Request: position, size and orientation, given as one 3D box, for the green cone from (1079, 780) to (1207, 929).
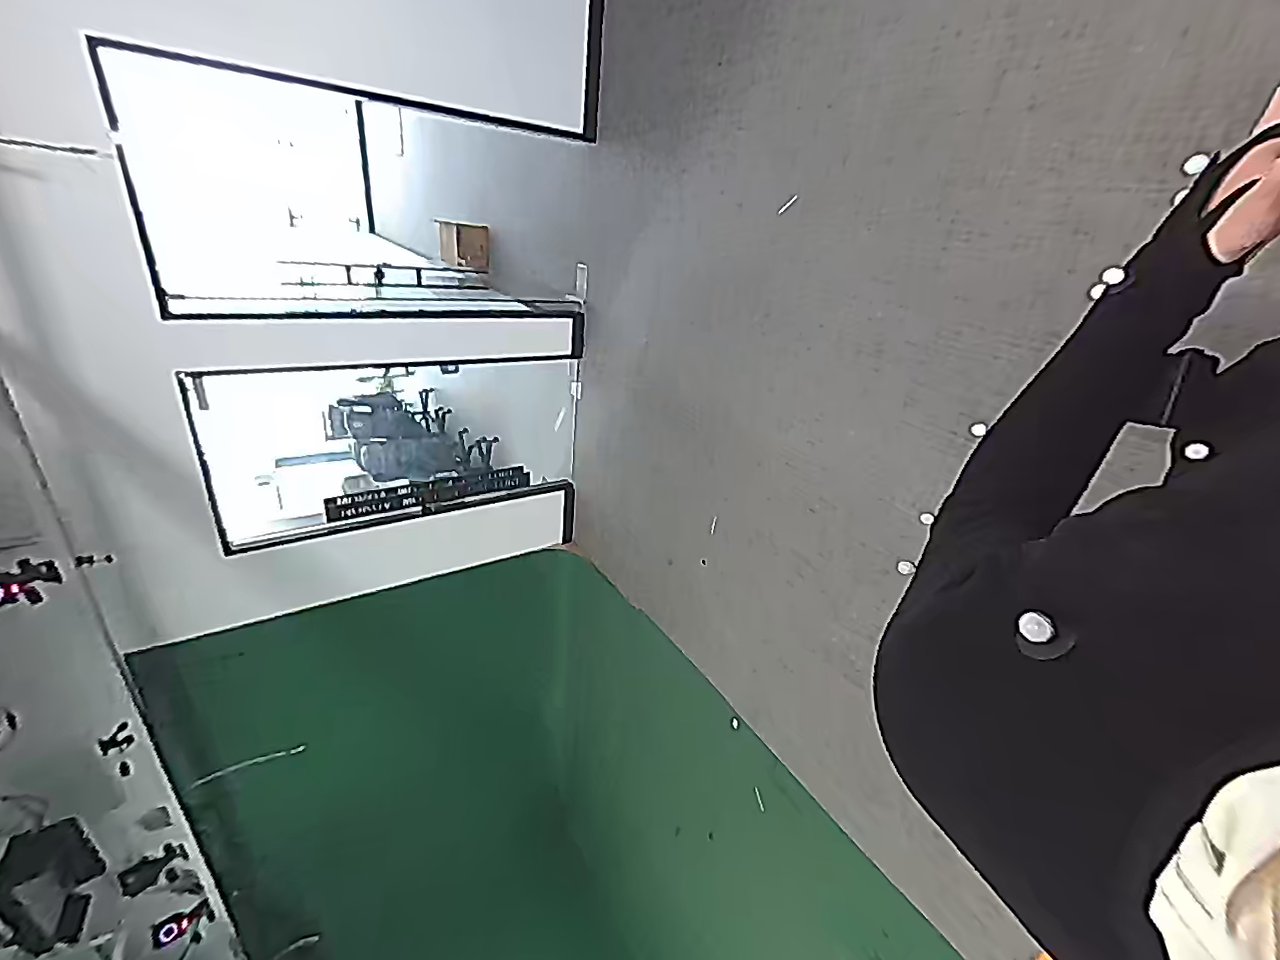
[{"bbox_3d":[1.128,0.925,1.281,0.202,0.368,0.200,38,130,44],"label":"green cone"}]
